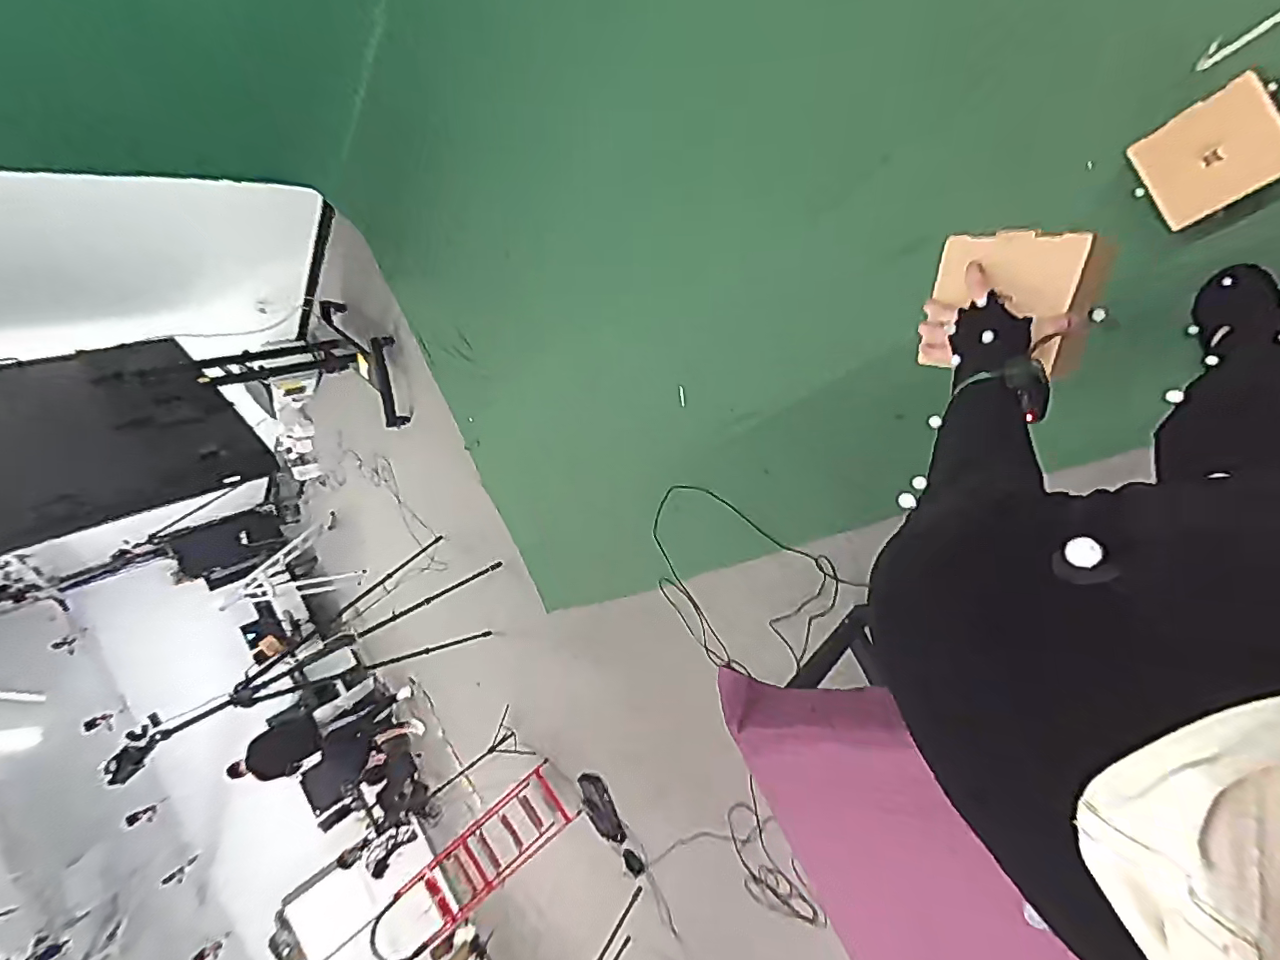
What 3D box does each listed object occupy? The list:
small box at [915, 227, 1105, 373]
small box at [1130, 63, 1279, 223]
[{"bbox_3d":[0.531,-0.254,0.776,0.168,0.176,0.179,24,116,44],"label":"small box"},{"bbox_3d":[1.027,-0.590,0.966,0.168,0.176,0.179,-30,86,49],"label":"small box"}]
